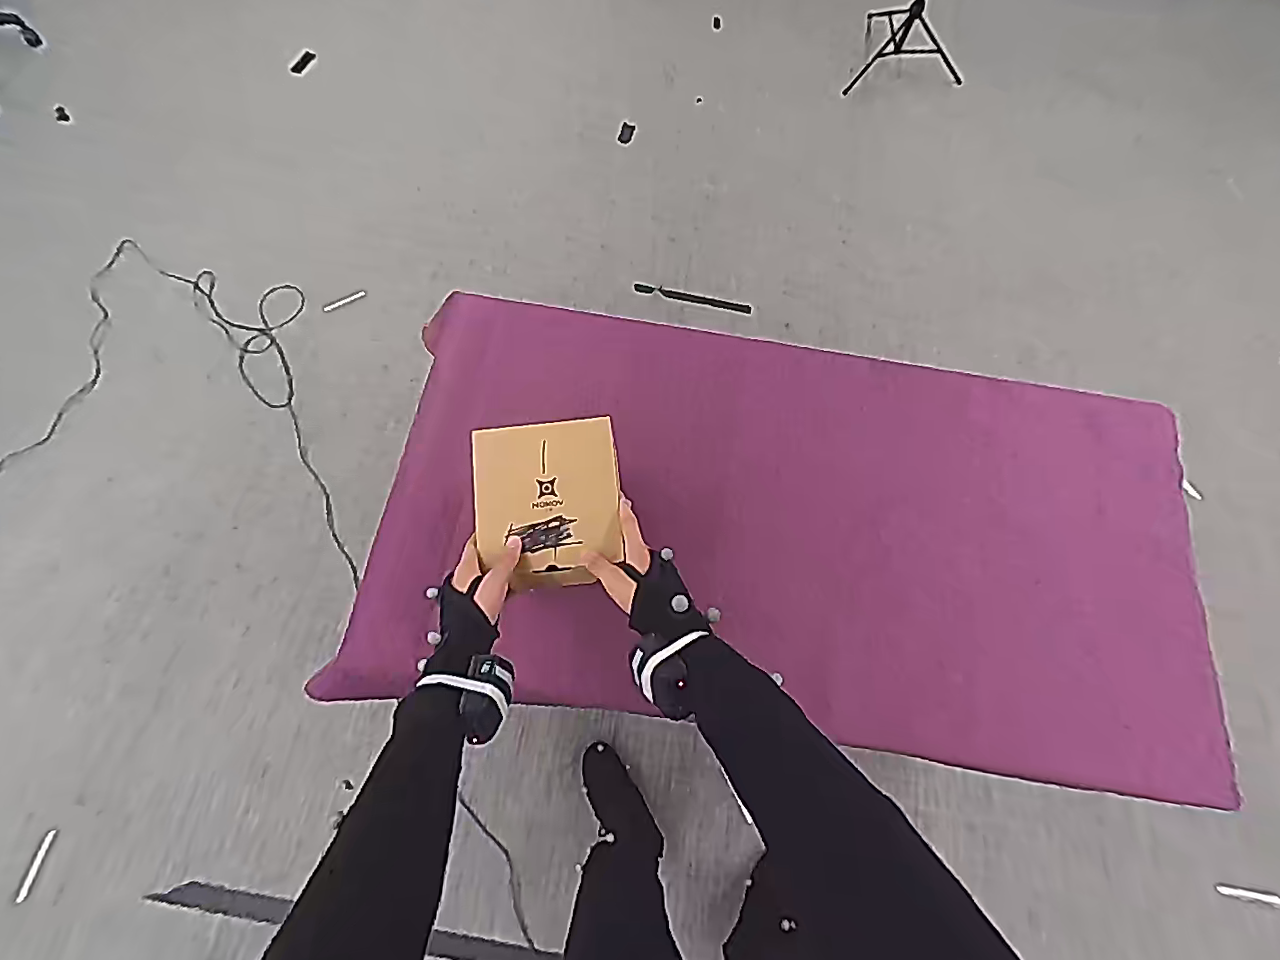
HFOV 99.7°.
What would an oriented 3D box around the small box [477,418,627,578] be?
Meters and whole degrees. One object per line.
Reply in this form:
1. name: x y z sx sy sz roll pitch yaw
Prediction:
1. small box: -0.105 0.033 0.703 0.168 0.176 0.179 -5 77 -2
